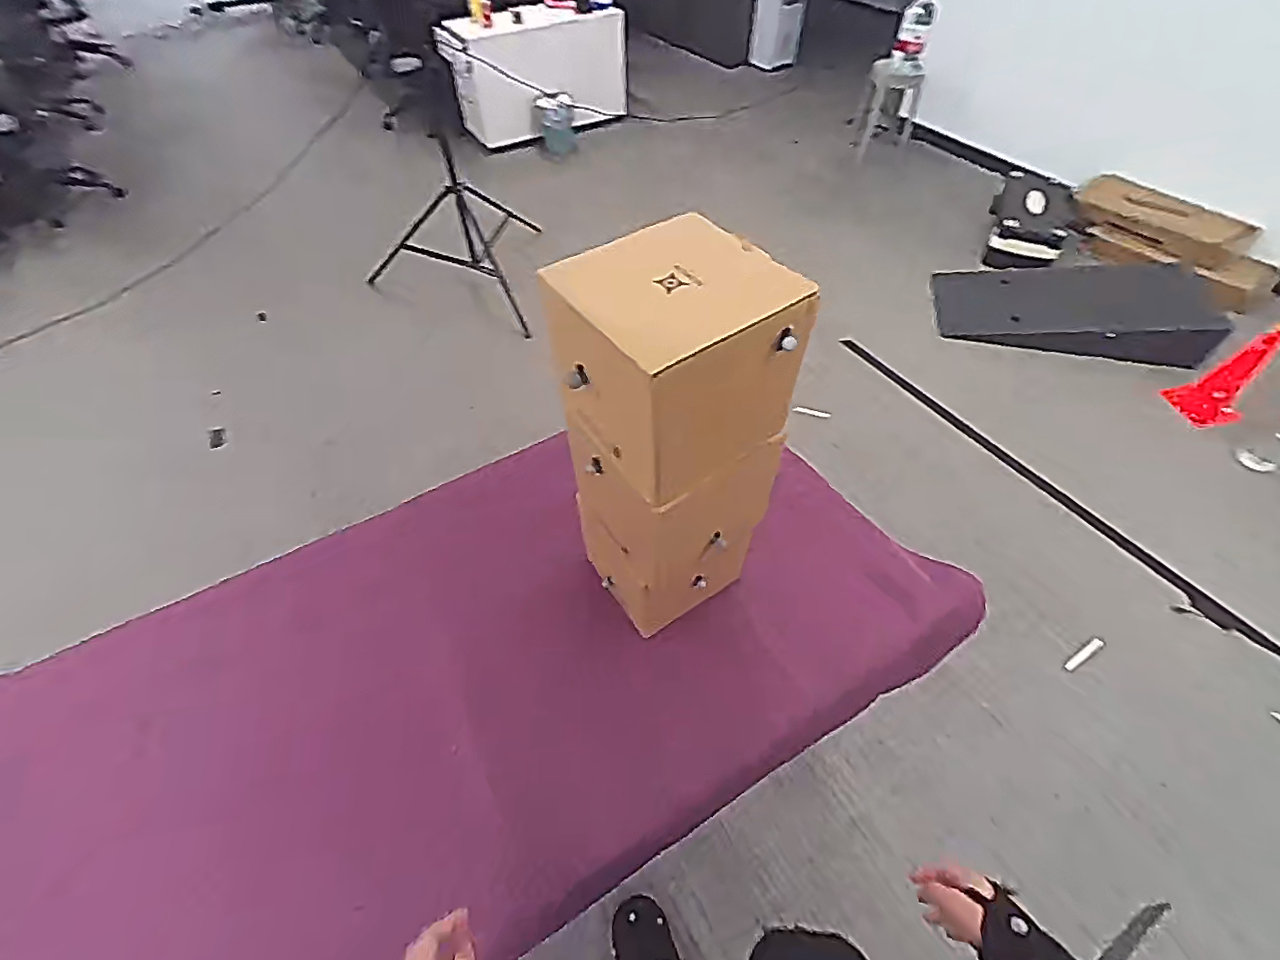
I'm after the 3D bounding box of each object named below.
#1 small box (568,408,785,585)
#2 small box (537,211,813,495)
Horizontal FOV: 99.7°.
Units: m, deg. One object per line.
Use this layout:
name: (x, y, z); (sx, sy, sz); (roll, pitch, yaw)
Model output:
small box: (0.036, -0.012, 0.635); (0.179, 0.176, 0.168); (-31, 58, -21)
small box: (0.029, -0.117, 0.510); (0.179, 0.176, 0.168); (-31, 58, -21)
